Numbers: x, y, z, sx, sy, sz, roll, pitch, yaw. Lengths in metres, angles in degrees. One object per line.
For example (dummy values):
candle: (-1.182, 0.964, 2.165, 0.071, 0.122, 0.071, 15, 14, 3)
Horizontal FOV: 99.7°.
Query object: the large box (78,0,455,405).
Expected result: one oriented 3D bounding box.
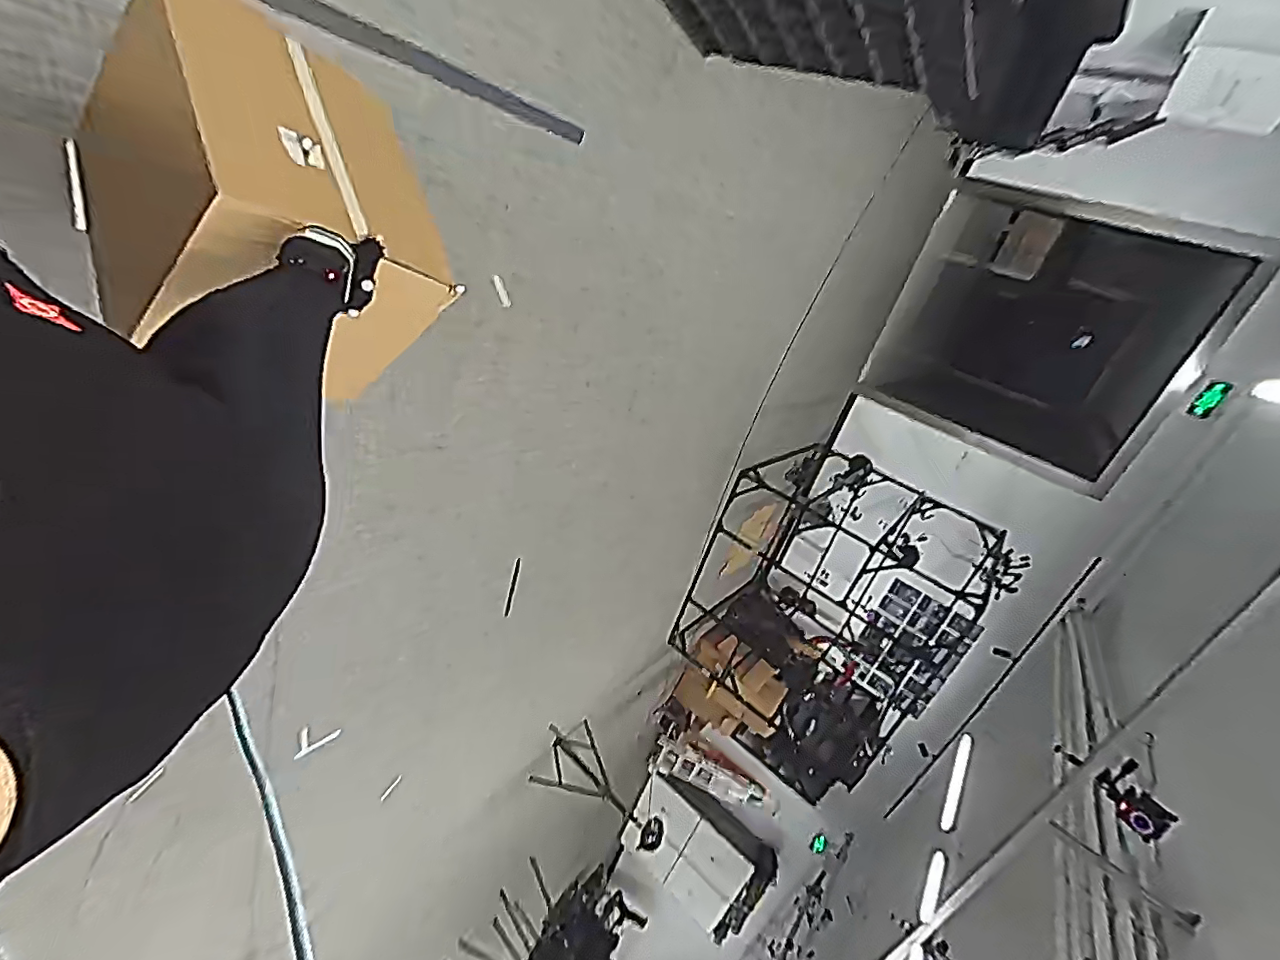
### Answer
large box: (-0.552, -0.377, 0.808, 0.320, 0.408, 0.320, -31, 164, 26)
